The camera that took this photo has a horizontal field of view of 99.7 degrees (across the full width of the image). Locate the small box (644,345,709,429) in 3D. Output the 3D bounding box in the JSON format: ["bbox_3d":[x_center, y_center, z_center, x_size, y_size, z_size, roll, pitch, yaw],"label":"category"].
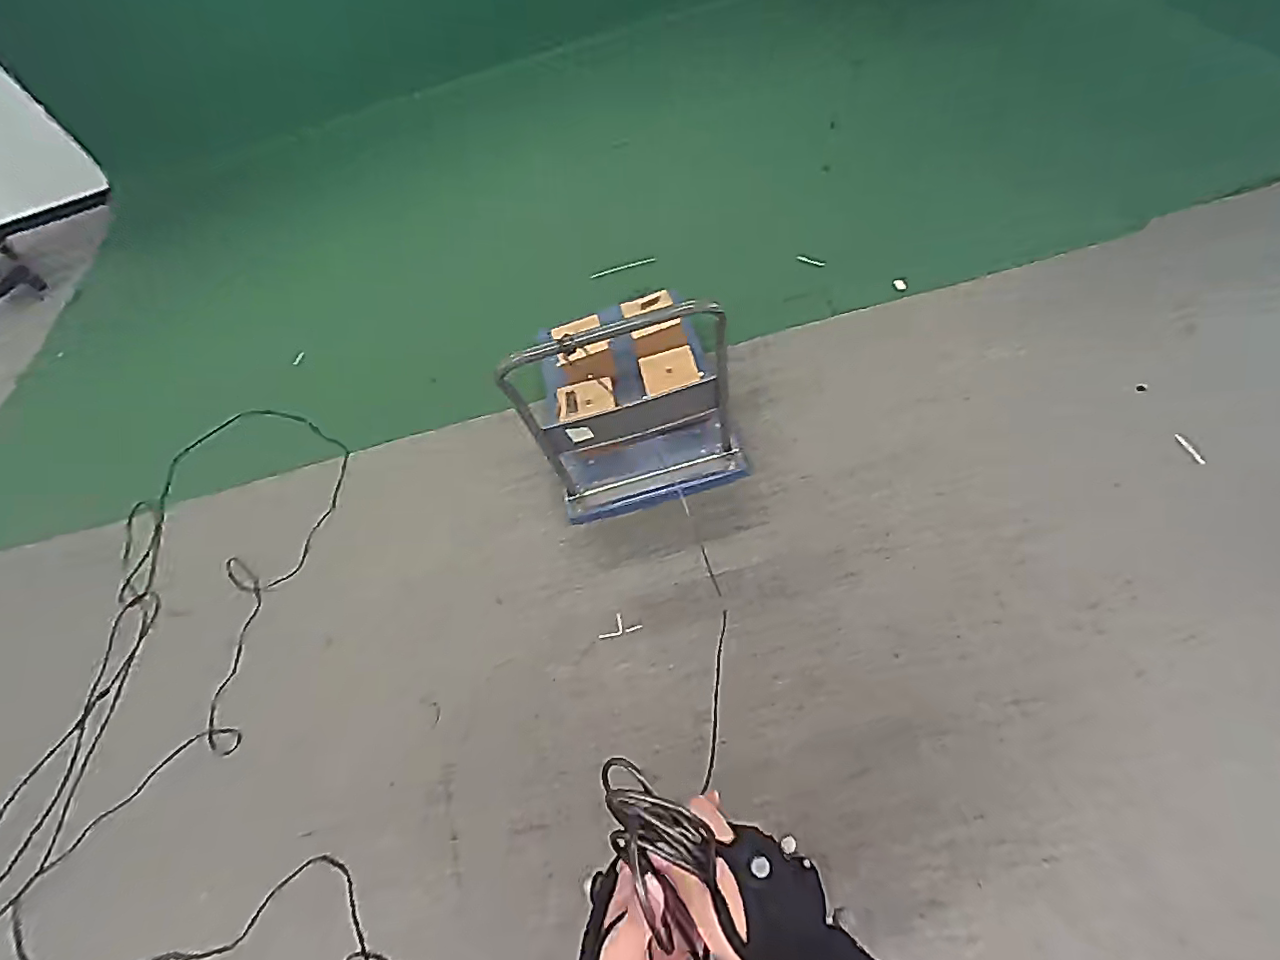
[{"bbox_3d":[0.118,-0.292,1.718,0.168,0.176,0.179,-14,59,4],"label":"small box"}]

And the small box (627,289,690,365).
[{"bbox_3d":[0.066,-0.515,1.860,0.168,0.176,0.179,-19,59,2],"label":"small box"}]

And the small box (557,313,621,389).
[{"bbox_3d":[-0.172,-0.435,1.866,0.168,0.176,0.179,-18,58,1],"label":"small box"}]
